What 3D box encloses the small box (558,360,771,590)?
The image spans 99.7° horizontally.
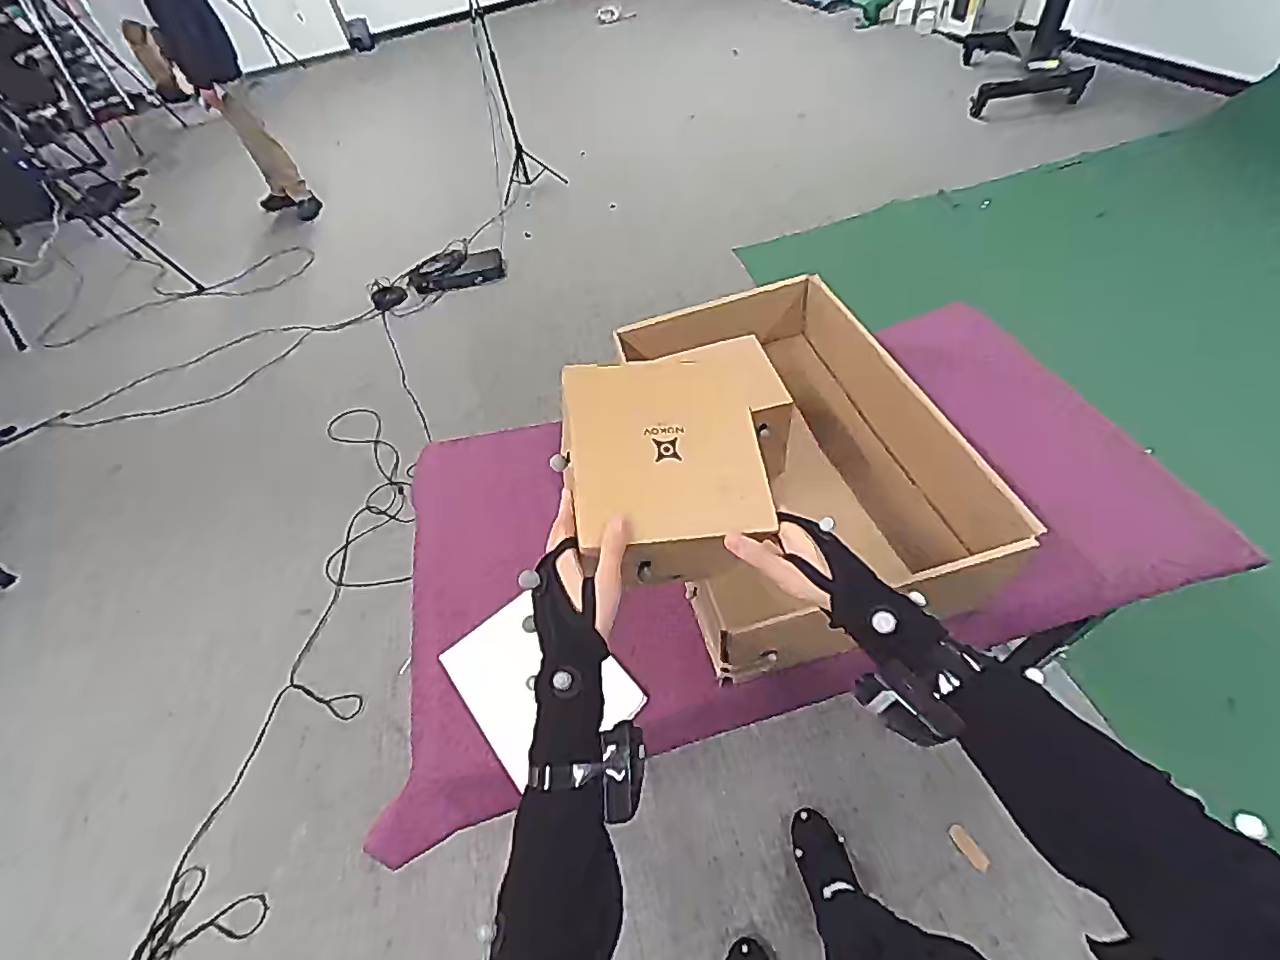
[{"bbox_3d":[0.010,0.004,0.535,0.168,0.176,0.179,-5,65,-9],"label":"small box"}]
